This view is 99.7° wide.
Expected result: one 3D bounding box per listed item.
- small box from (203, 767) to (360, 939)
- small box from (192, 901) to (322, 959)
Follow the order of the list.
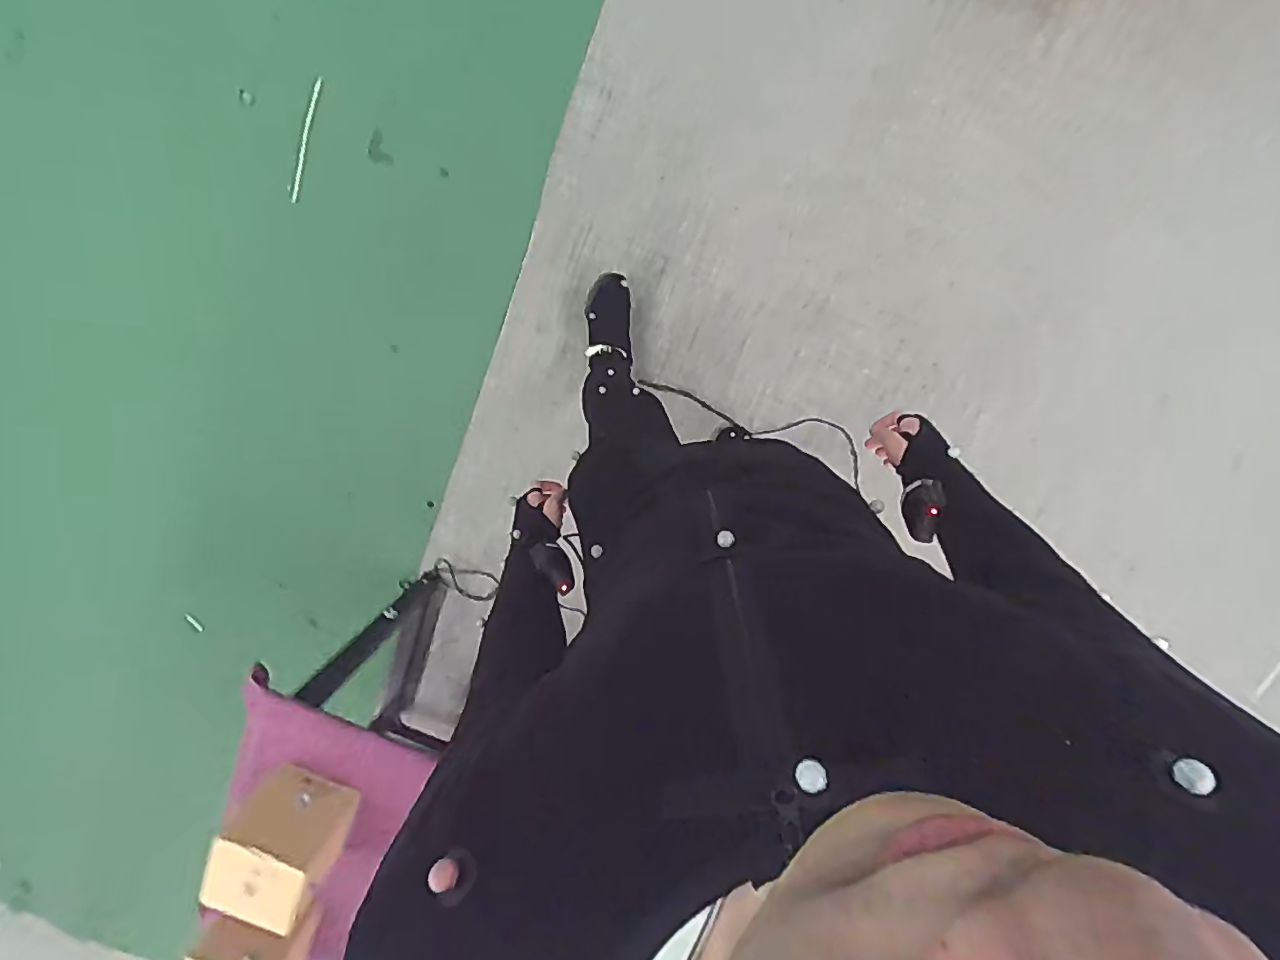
[{"bbox_3d":[-0.658,0.687,1.009,0.168,0.176,0.179,24,106,-3],"label":"small box"},{"bbox_3d":[-0.781,0.972,1.092,0.168,0.176,0.179,22,103,-3],"label":"small box"}]
